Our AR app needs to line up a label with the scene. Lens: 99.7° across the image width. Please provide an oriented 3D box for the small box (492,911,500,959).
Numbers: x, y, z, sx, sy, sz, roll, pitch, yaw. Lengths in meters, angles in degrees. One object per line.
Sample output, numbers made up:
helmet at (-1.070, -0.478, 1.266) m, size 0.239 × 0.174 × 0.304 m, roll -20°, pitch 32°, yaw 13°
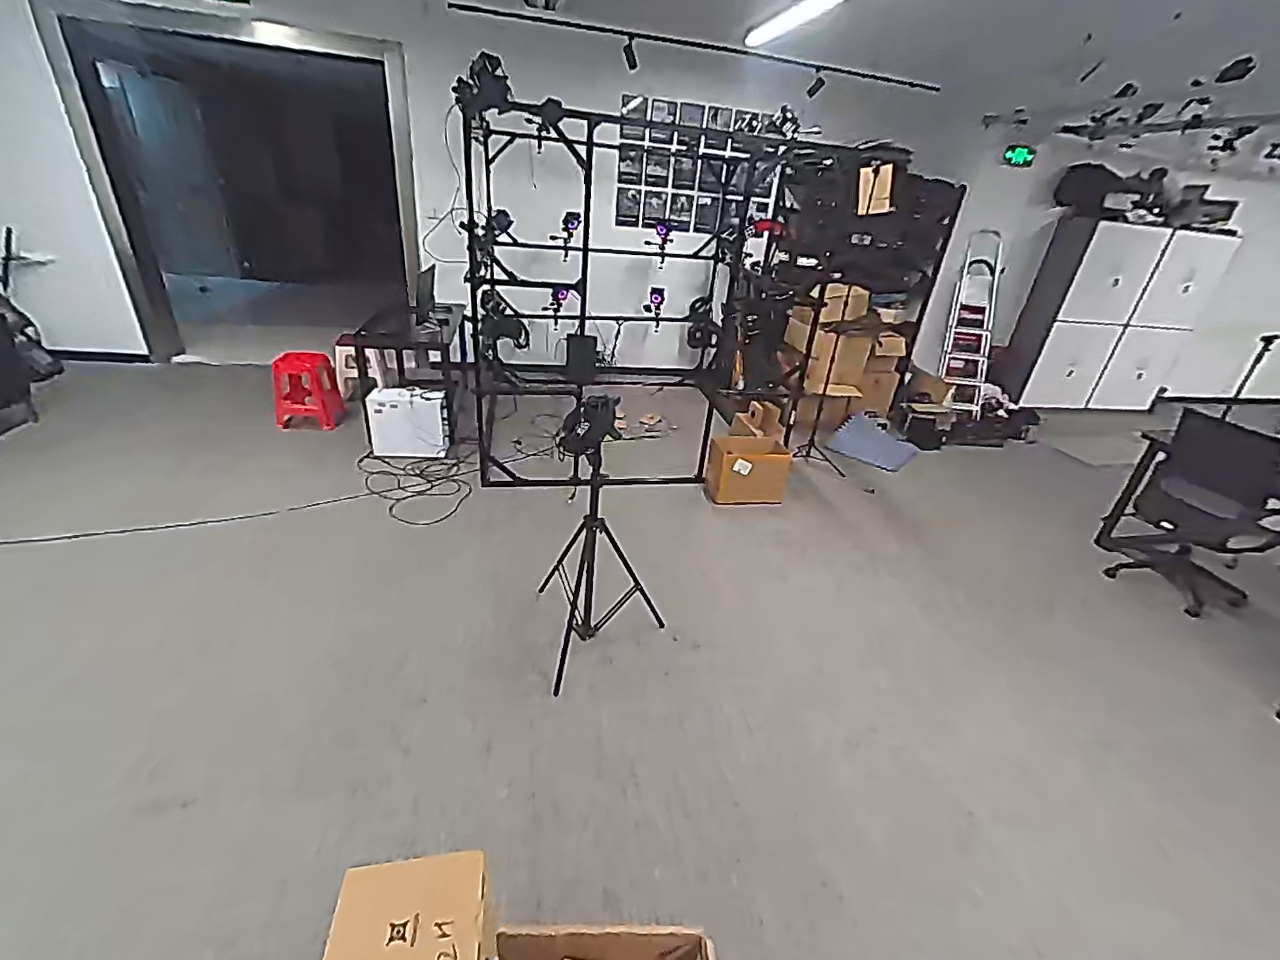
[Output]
small box at (-0.284, 0.754, 0.751) m, size 0.168 × 0.176 × 0.179 m, roll -1°, pitch 27°, yaw -12°

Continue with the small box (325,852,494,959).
small box at (-0.281, 0.609, 0.675) m, size 0.179 × 0.176 × 0.168 m, roll 0°, pitch 28°, yaw -11°
